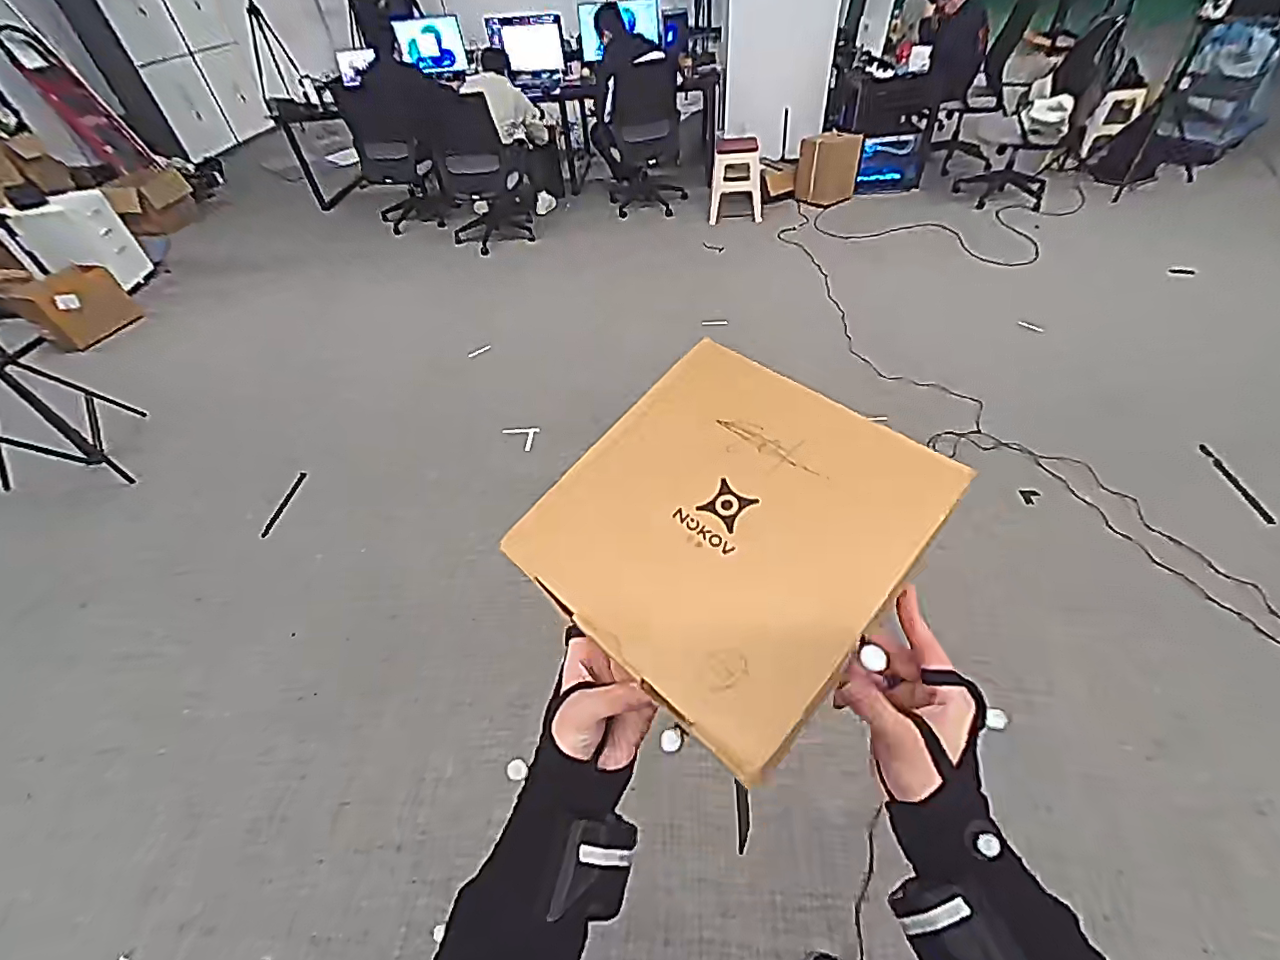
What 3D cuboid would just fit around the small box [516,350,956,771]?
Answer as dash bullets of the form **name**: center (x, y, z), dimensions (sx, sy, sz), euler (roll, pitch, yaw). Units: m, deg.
- **small box**: center (0.059, 0.058, 0.349), dimensions (0.168, 0.176, 0.179), euler (35, 71, 27)
